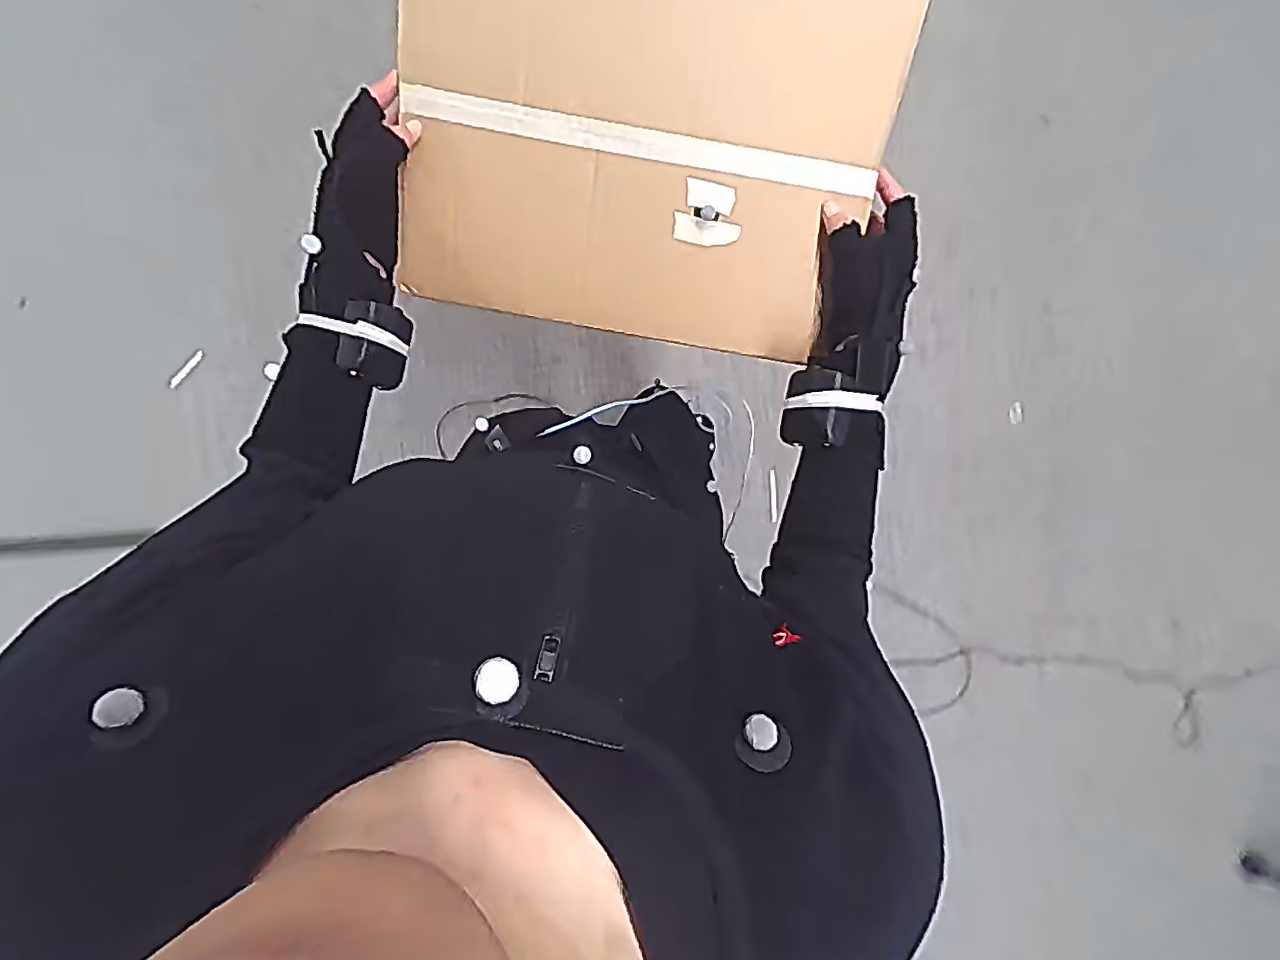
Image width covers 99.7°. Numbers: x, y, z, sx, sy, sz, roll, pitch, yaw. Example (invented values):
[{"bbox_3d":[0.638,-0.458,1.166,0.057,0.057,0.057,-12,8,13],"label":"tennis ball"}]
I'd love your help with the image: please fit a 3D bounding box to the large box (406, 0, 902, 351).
[{"bbox_3d":[-0.003,-0.342,0.609,0.408,0.320,0.320,8,111,-3],"label":"large box"}]
